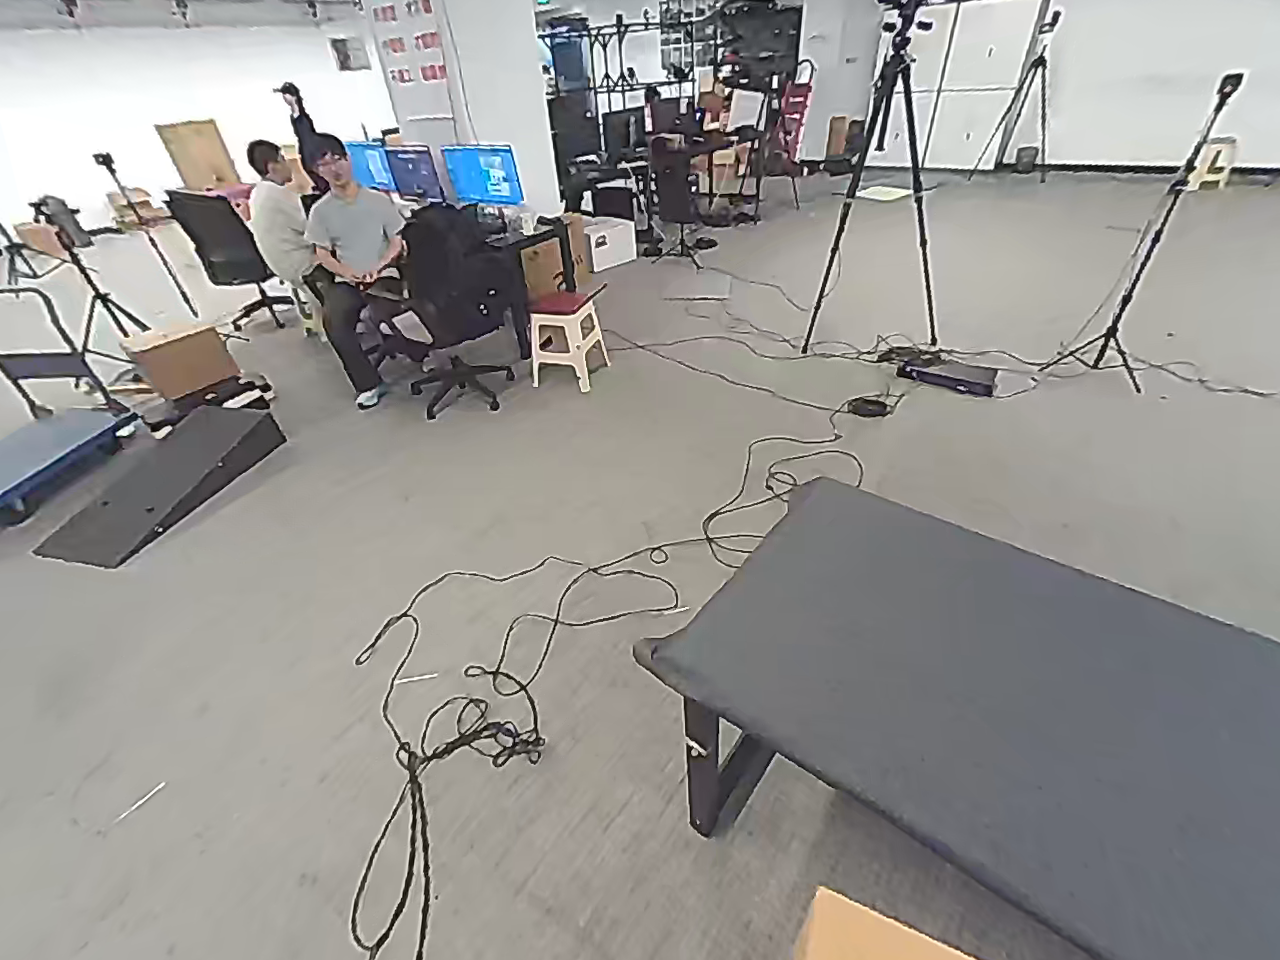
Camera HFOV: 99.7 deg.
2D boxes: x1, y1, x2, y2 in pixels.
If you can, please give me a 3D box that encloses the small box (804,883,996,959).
[{"bbox_3d":[0.183,0.430,0.358,0.168,0.176,0.179,14,39,23],"label":"small box"}]
